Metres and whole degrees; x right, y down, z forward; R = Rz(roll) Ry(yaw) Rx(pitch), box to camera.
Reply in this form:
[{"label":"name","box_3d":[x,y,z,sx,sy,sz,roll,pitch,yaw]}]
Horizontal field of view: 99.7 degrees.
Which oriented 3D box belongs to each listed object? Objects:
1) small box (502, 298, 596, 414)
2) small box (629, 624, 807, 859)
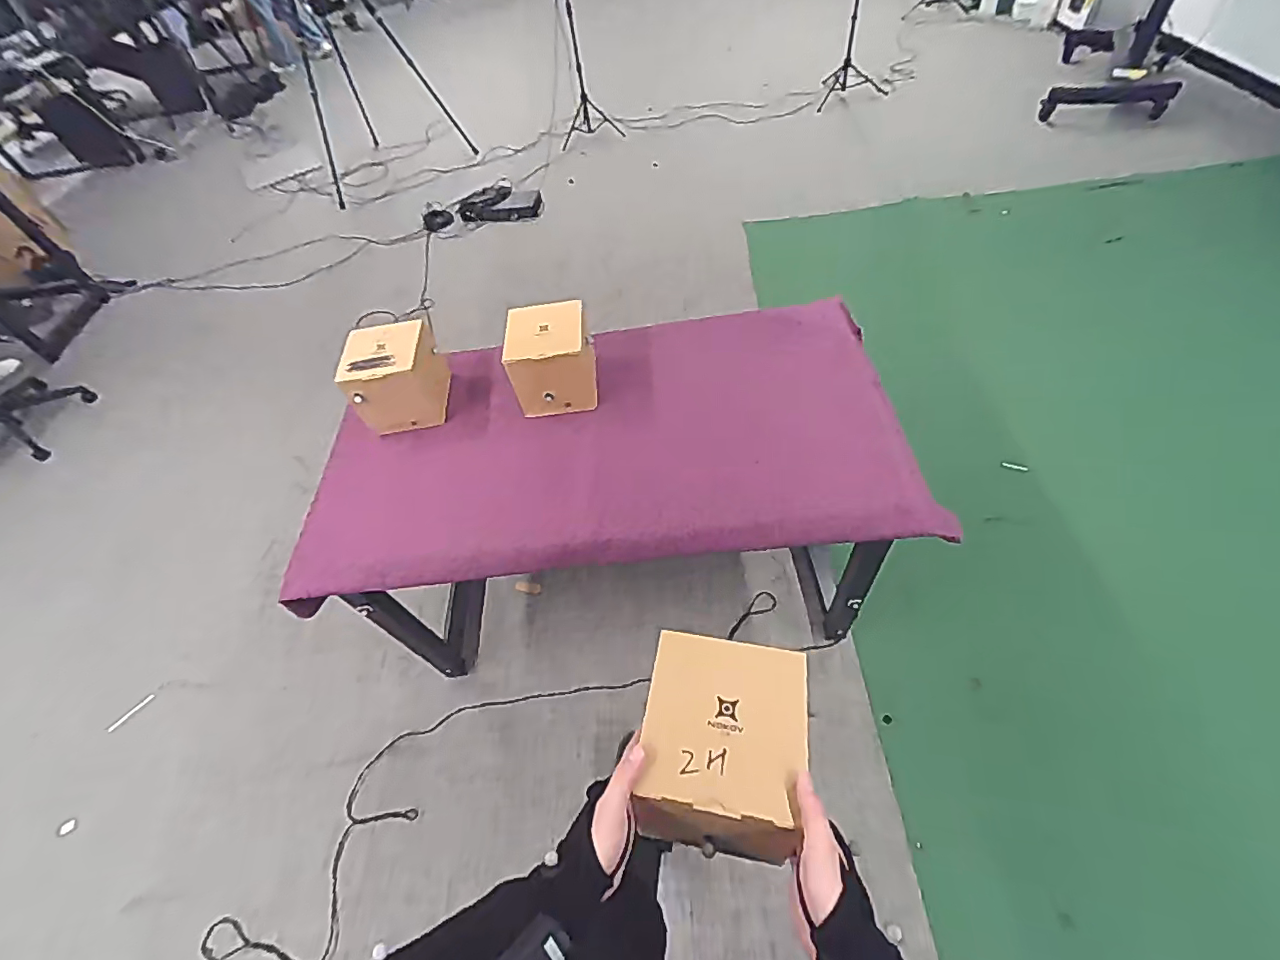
[{"label":"small box","box_3d":[-0.193,-0.270,1.191,0.168,0.176,0.179,-7,54,3]},{"label":"small box","box_3d":[0.090,0.292,0.608,0.168,0.176,0.179,6,46,11]}]
